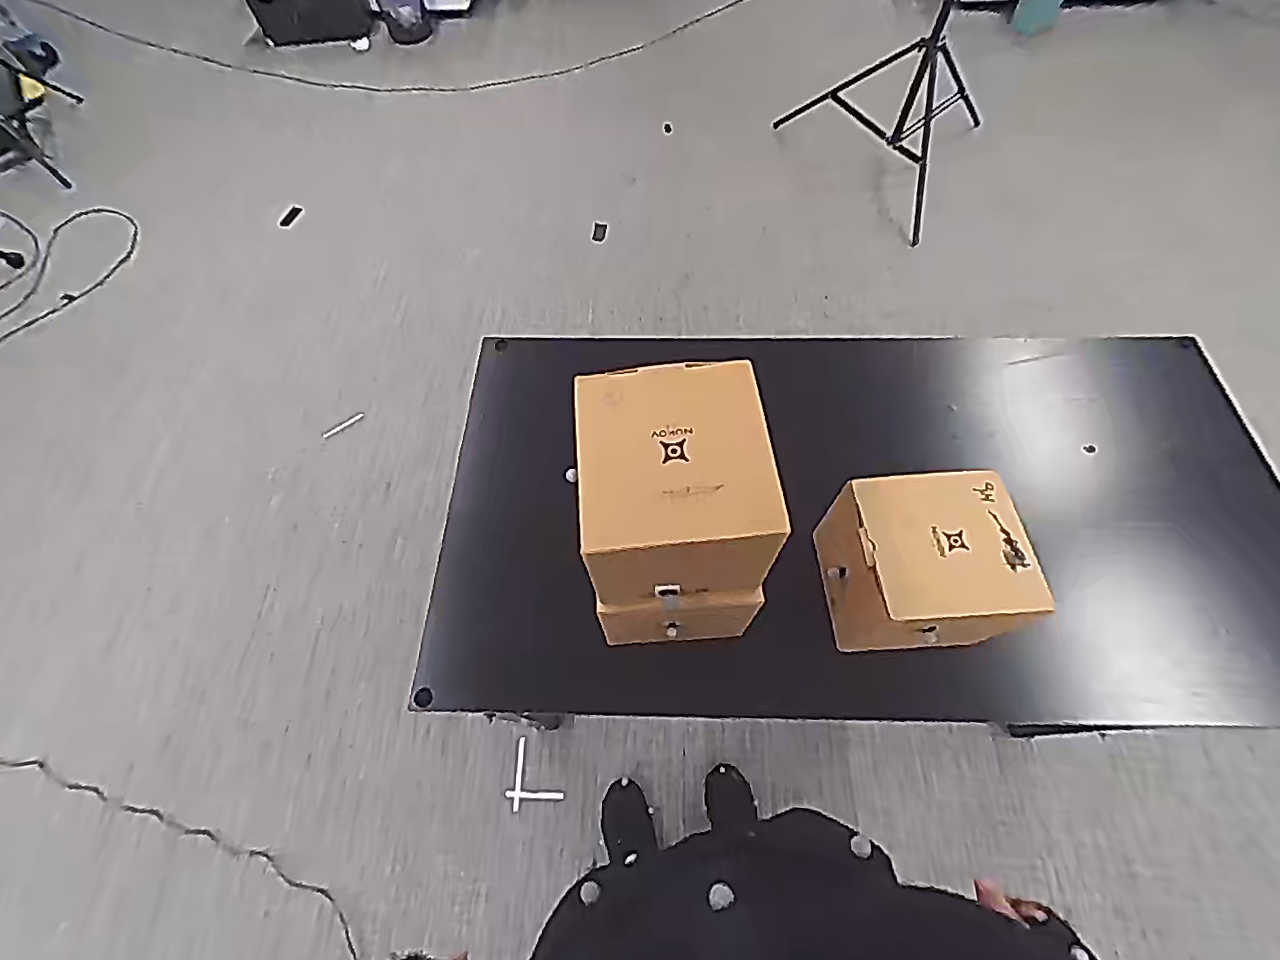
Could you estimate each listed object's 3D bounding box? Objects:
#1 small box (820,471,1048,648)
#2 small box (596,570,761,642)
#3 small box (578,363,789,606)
[{"bbox_3d":[0.332,0.104,0.661,0.179,0.176,0.168,-3,62,0],"label":"small box"},{"bbox_3d":[0.039,0.099,0.671,0.179,0.176,0.168,-4,62,1],"label":"small box"},{"bbox_3d":[0.032,0.011,0.534,0.168,0.176,0.179,-6,63,0],"label":"small box"}]
